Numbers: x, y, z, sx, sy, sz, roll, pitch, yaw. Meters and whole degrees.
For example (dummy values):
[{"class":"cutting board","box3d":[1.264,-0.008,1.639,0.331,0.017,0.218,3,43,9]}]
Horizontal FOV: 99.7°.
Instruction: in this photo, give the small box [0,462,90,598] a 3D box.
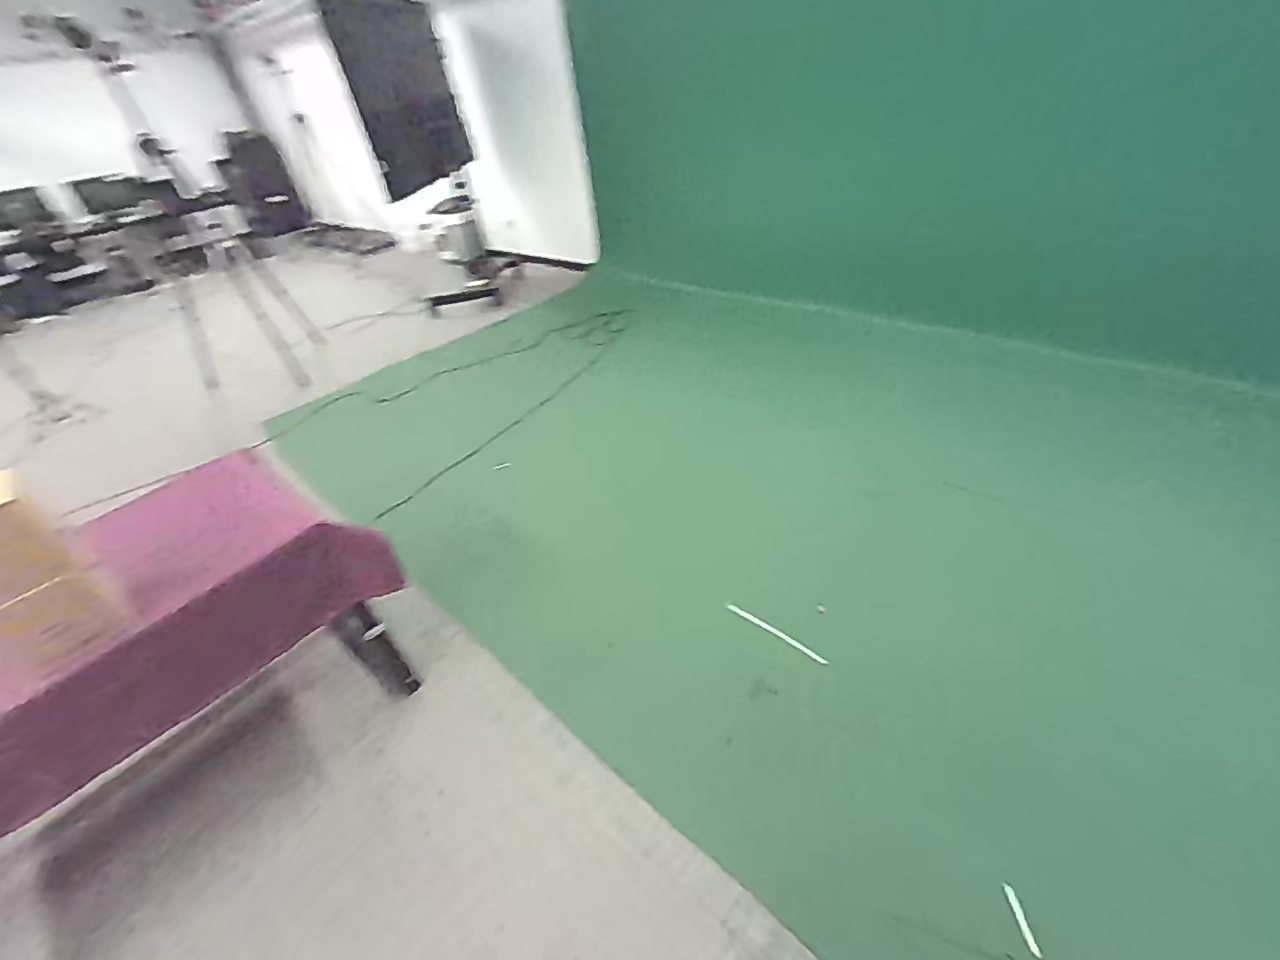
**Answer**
[{"class":"small box","box3d":[-1.182,0.100,0.993,0.168,0.176,0.179,27,49,36]}]
